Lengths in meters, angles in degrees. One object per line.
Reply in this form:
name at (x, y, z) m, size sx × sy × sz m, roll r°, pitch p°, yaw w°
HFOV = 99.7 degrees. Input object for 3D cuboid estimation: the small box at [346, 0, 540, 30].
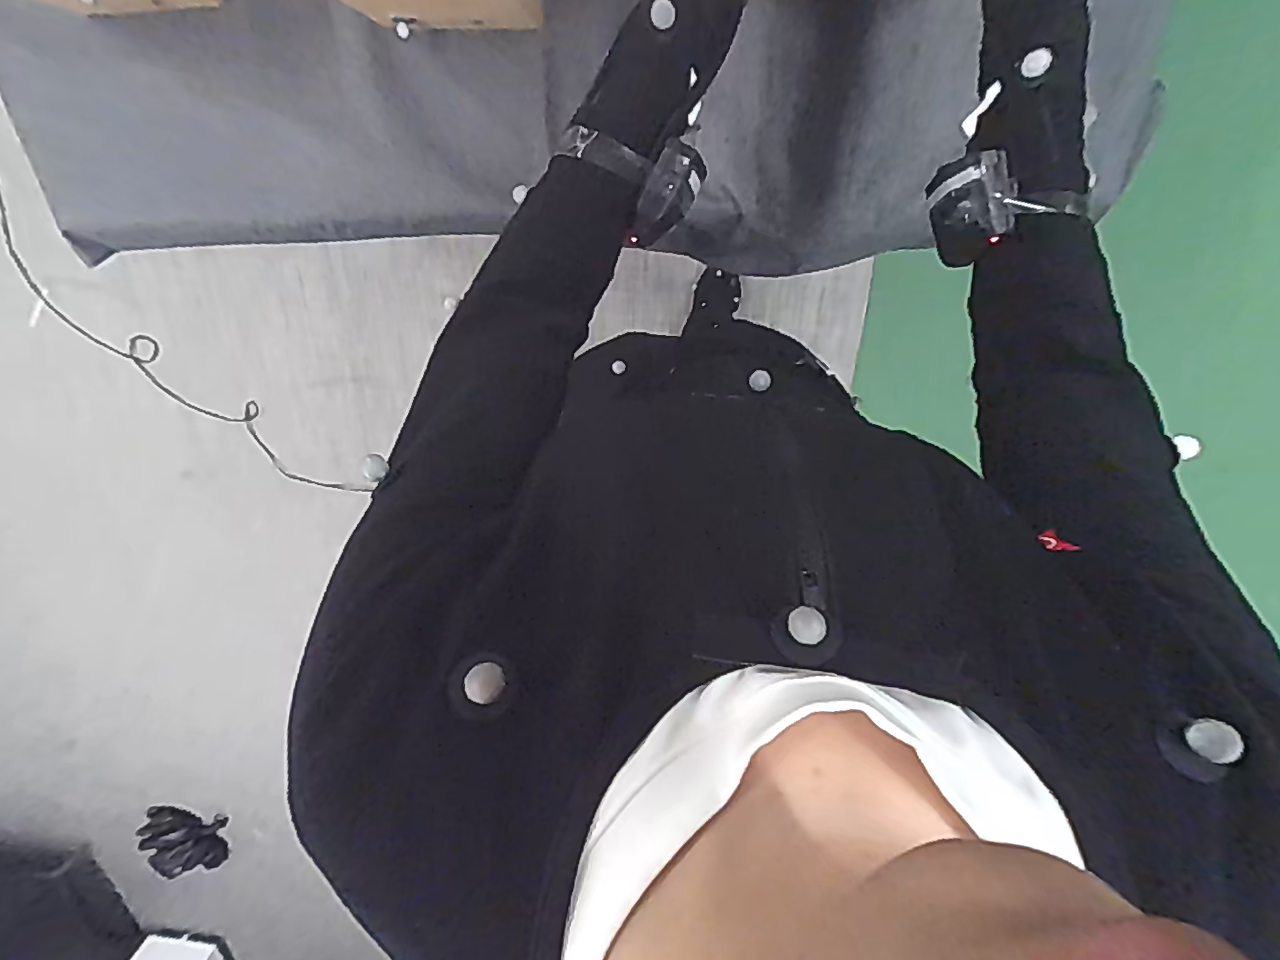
small box at (-0.184, -0.499, 0.442) m, size 0.168 × 0.176 × 0.179 m, roll 4°, pitch 115°, yaw 5°
